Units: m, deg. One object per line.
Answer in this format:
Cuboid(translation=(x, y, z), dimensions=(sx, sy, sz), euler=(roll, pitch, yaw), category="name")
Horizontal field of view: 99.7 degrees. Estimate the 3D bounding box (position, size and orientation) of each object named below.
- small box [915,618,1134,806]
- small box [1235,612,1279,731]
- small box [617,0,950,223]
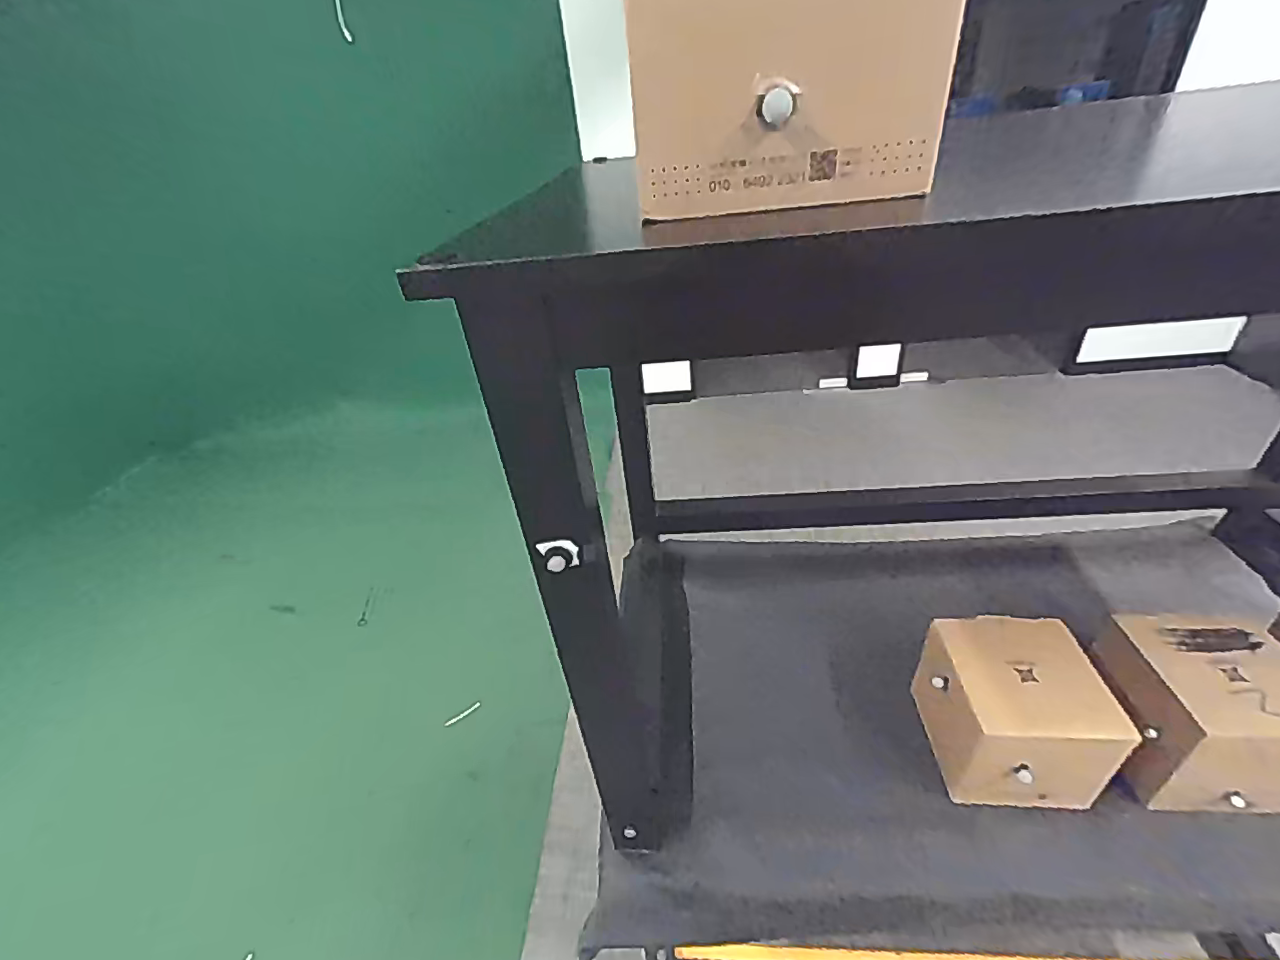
Cuboid(translation=(0.488, 0.307, 0.722), dimensions=(0.168, 0.176, 0.179), euler=(-2, 34, 8), category="small box")
Cuboid(translation=(0.937, 0.274, 0.678), dimensions=(0.168, 0.176, 0.179), euler=(-1, 34, 9), category="small box")
Cuboid(translation=(0.076, -0.268, 0.340), dimensions=(0.168, 0.176, 0.179), euler=(-3, 35, 7), category="small box")
